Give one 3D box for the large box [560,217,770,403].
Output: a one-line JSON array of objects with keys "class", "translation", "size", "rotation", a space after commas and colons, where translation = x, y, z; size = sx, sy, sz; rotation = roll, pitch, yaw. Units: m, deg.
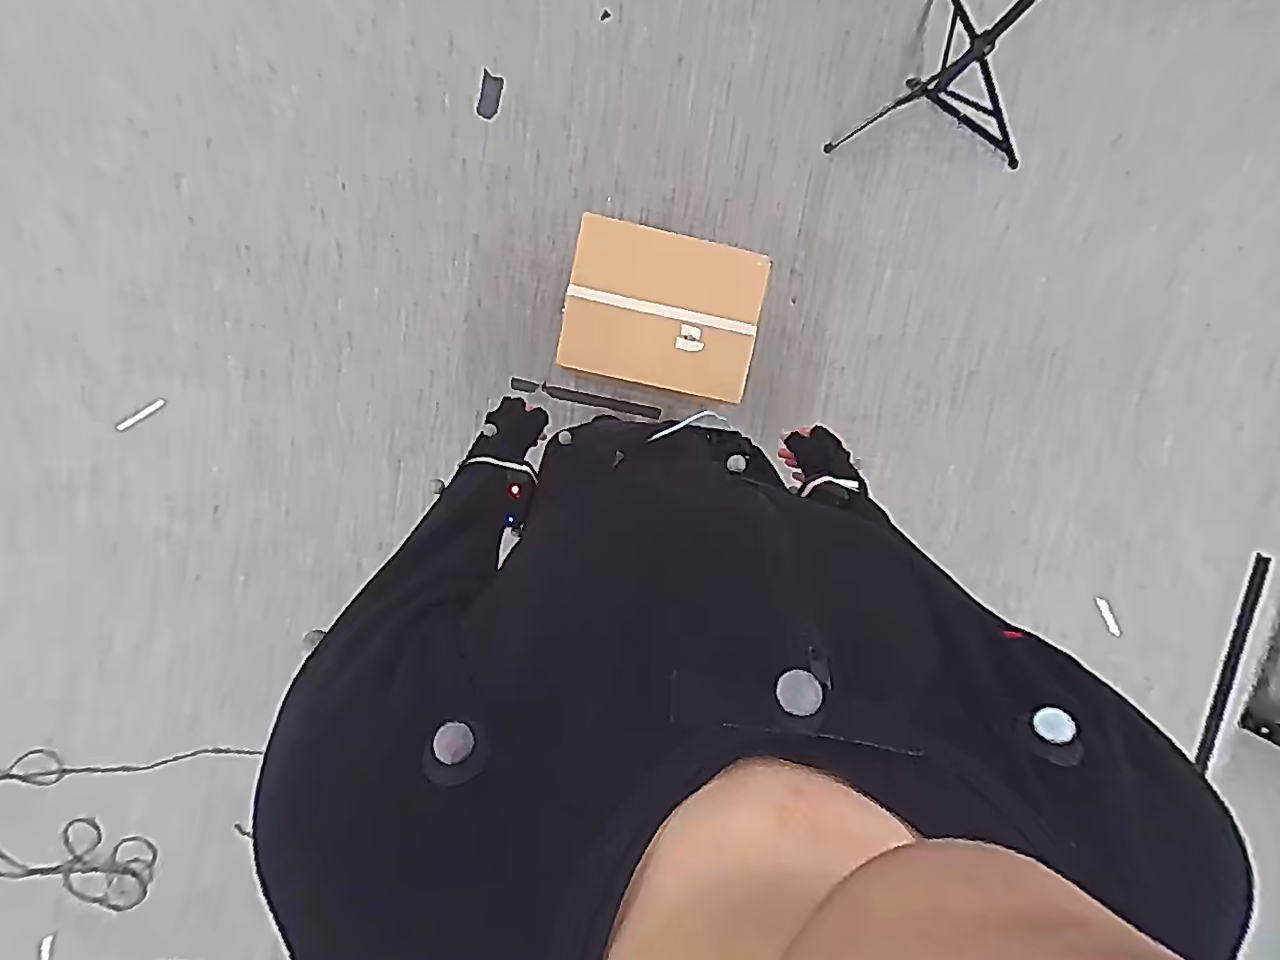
[{"class": "large box", "translation": [0.042, -0.374, 1.285], "size": [0.408, 0.320, 0.320], "rotation": [12, 97, -5]}]
